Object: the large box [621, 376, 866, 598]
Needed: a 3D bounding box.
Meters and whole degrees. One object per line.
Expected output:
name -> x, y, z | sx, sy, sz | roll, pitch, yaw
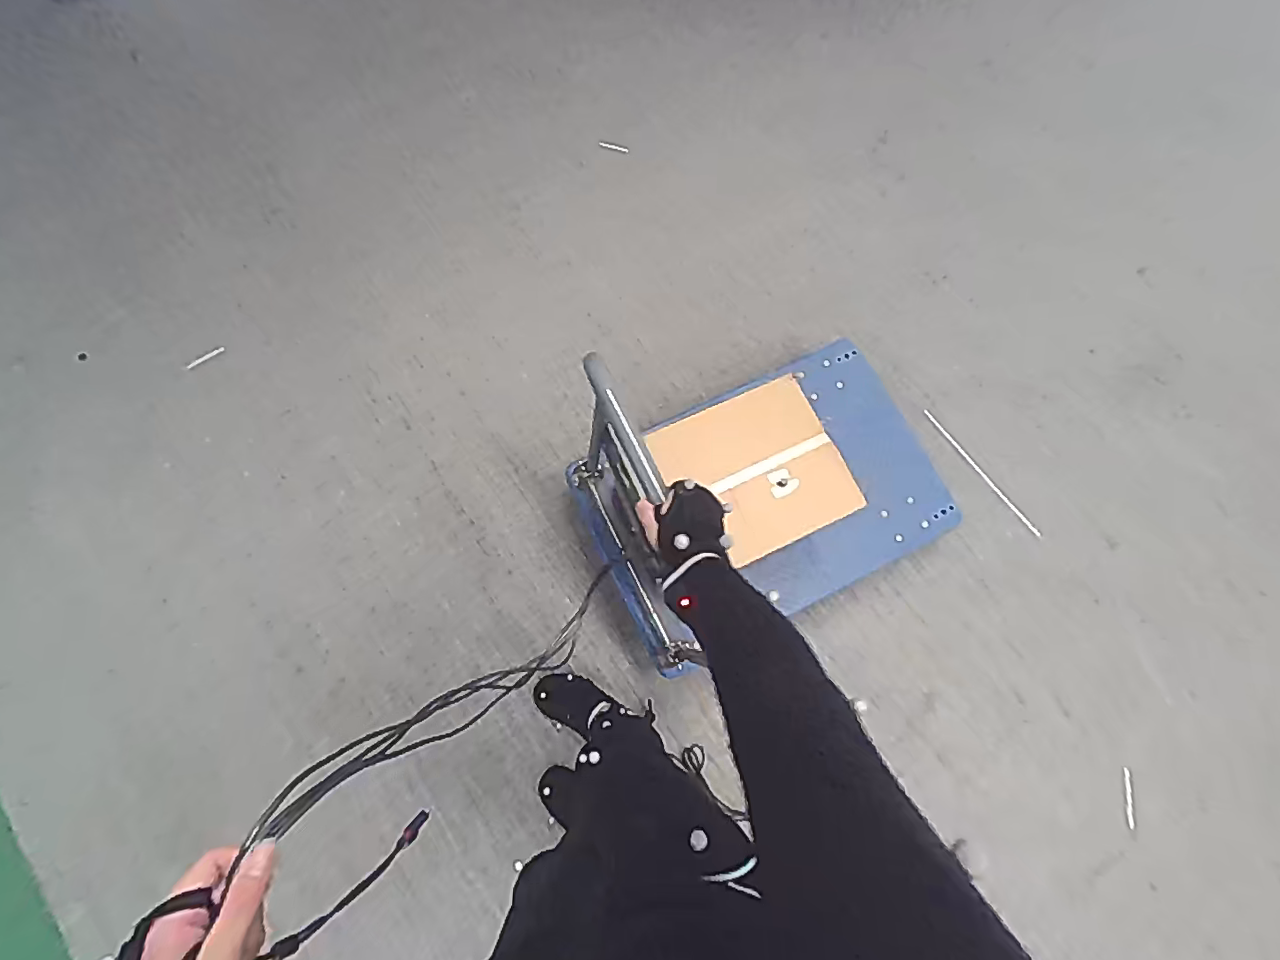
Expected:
large box -> 0.200, 0.033, 1.211 | 0.408, 0.320, 0.320 | -24, 78, -9
